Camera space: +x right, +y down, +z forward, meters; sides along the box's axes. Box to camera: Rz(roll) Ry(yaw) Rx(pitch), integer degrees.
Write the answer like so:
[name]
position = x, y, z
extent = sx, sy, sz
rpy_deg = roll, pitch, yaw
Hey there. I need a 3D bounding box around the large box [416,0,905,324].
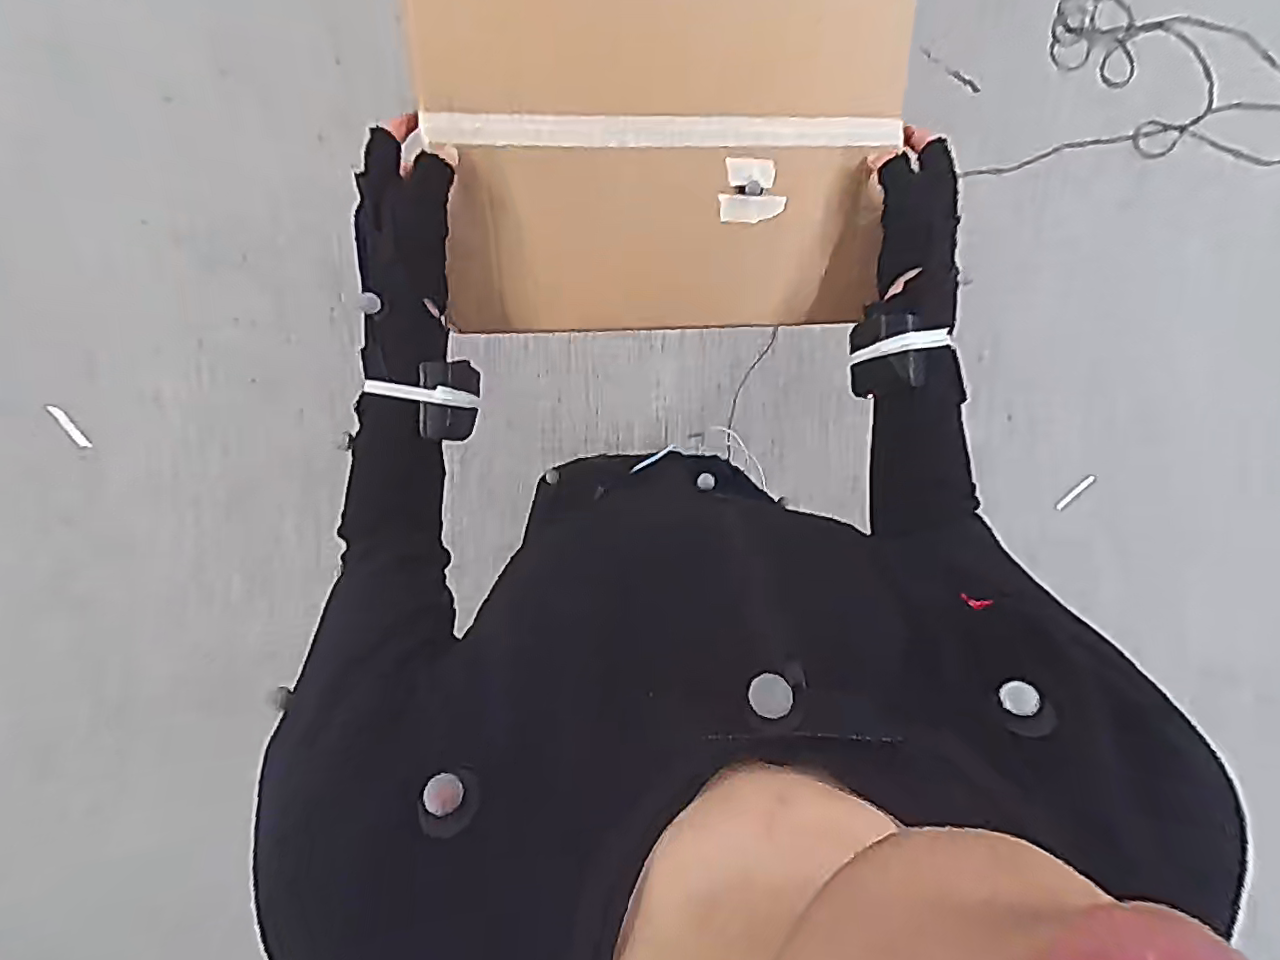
[large box]
position = 0.007, -0.343, 0.599
extent = 0.408, 0.320, 0.320
rpy_deg = -3, 108, -7
